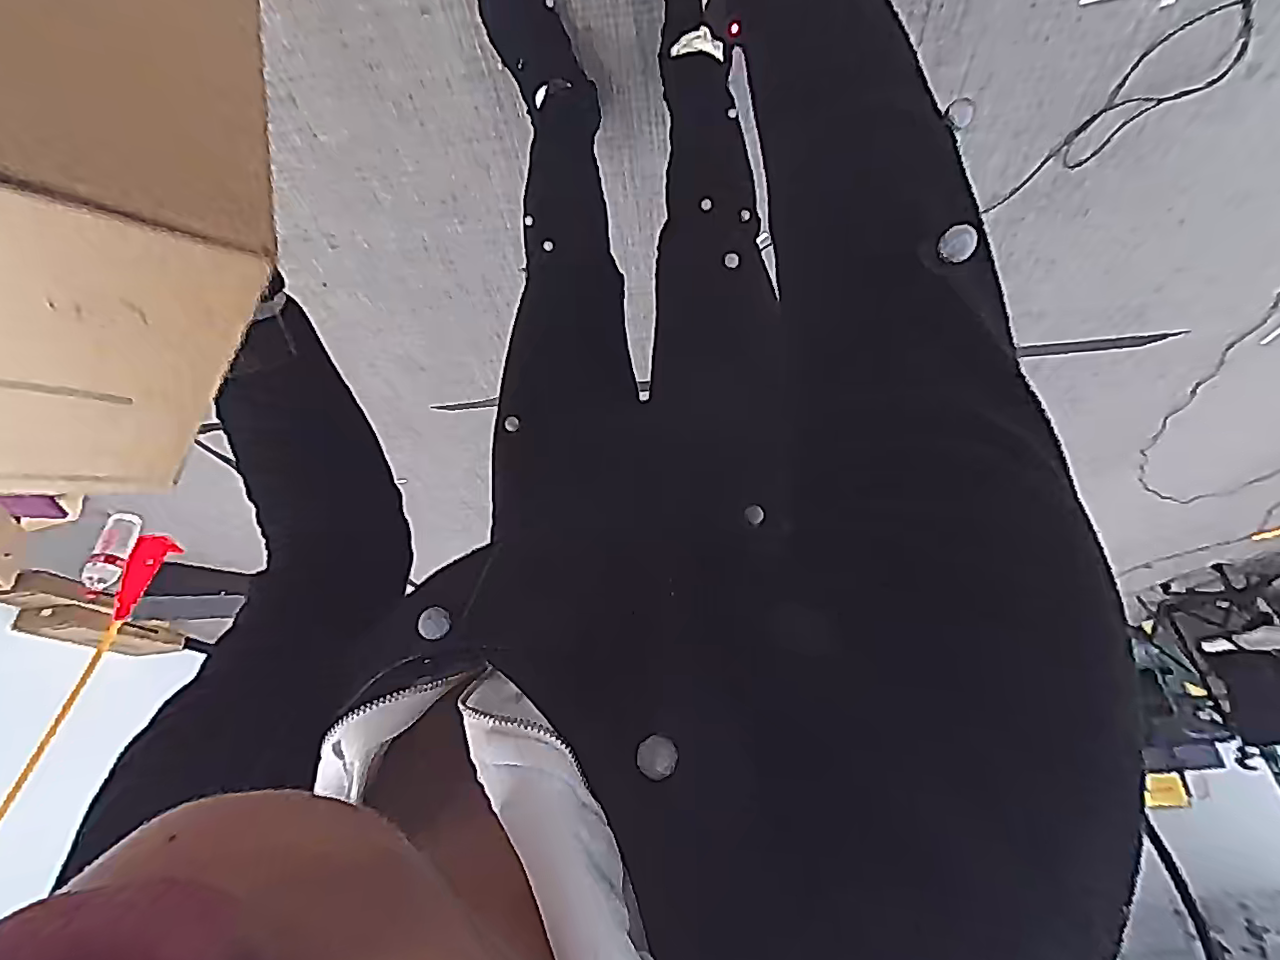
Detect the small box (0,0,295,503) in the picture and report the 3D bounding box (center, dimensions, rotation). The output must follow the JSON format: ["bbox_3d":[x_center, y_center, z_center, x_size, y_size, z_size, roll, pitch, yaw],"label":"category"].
[{"bbox_3d":[-0.228,-0.105,0.152,0.168,0.176,0.179,-30,158,36],"label":"small box"}]
